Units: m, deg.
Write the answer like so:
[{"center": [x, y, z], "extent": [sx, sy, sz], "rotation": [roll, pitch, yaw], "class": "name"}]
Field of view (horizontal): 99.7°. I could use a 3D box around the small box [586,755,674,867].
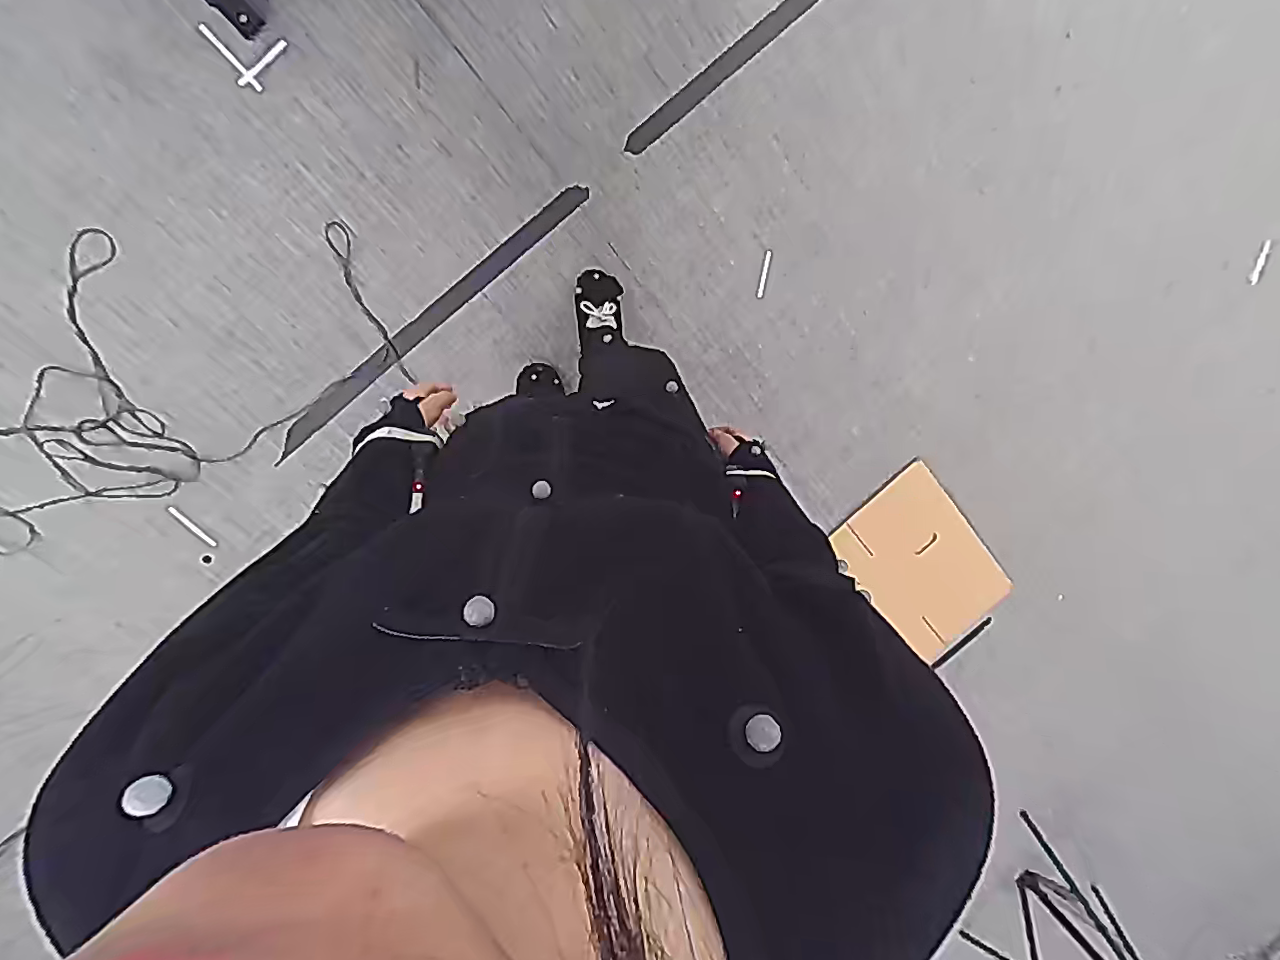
[{"center": [-0.030, 0.791, 1.304], "extent": [0.179, 0.176, 0.168], "rotation": [8, 101, -9], "class": "small box"}]
